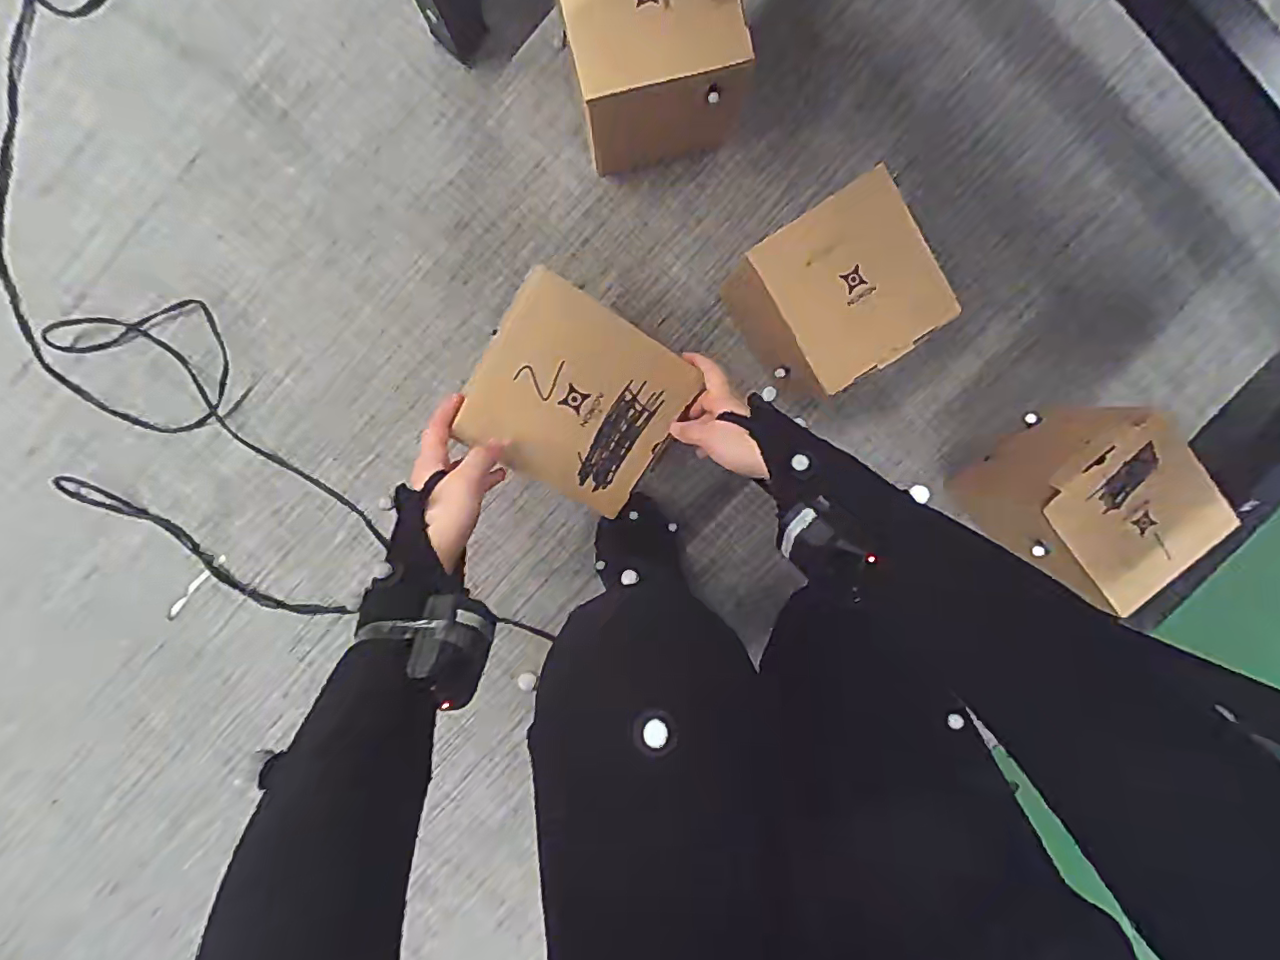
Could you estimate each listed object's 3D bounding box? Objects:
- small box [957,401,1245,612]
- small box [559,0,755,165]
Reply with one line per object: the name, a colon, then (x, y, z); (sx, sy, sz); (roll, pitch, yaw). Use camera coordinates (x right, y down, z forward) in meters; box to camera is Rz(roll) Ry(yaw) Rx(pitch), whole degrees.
small box: (0.542, 0.023, 0.664); (0.168, 0.176, 0.179); (-41, 97, 4)
small box: (0.010, -0.481, 0.596); (0.179, 0.176, 0.168); (-14, 97, 0)
